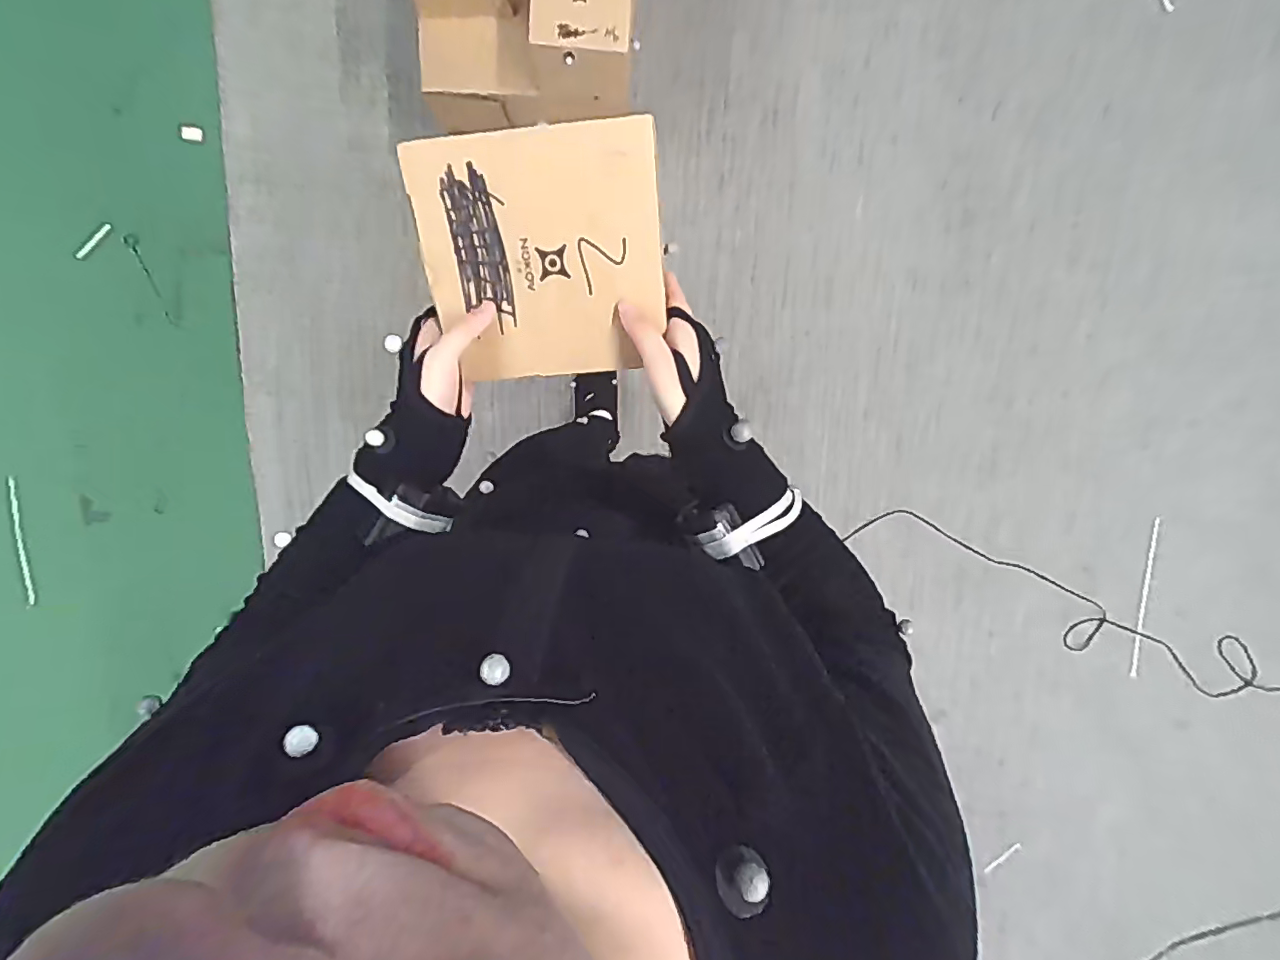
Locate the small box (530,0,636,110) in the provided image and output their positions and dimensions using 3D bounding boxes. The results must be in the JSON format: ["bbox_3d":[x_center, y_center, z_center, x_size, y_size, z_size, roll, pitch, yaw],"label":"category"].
[{"bbox_3d":[-0.095,-0.803,0.959,0.168,0.176,0.179,5,98,-2],"label":"small box"}]

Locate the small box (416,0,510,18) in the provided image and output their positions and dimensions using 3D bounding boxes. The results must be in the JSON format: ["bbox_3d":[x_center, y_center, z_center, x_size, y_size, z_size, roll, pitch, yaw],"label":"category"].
[{"bbox_3d":[-0.324,-0.948,0.937,0.179,0.176,0.168,0,97,0],"label":"small box"}]
